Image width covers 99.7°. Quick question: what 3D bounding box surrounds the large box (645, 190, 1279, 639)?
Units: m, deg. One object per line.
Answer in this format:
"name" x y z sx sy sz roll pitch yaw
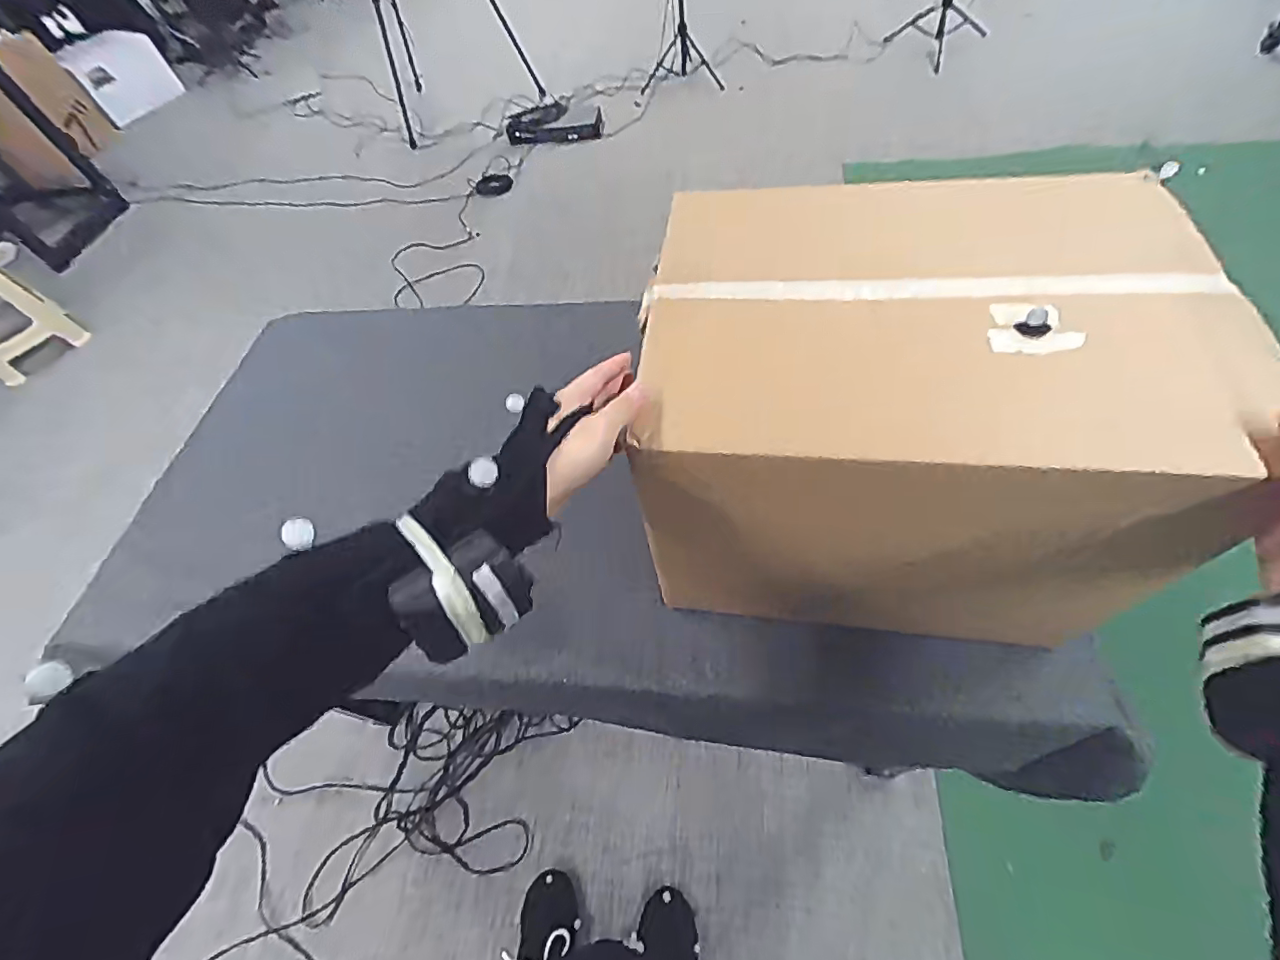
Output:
"large box" 0.230 -0.054 0.541 0.408 0.320 0.320 4 58 10
